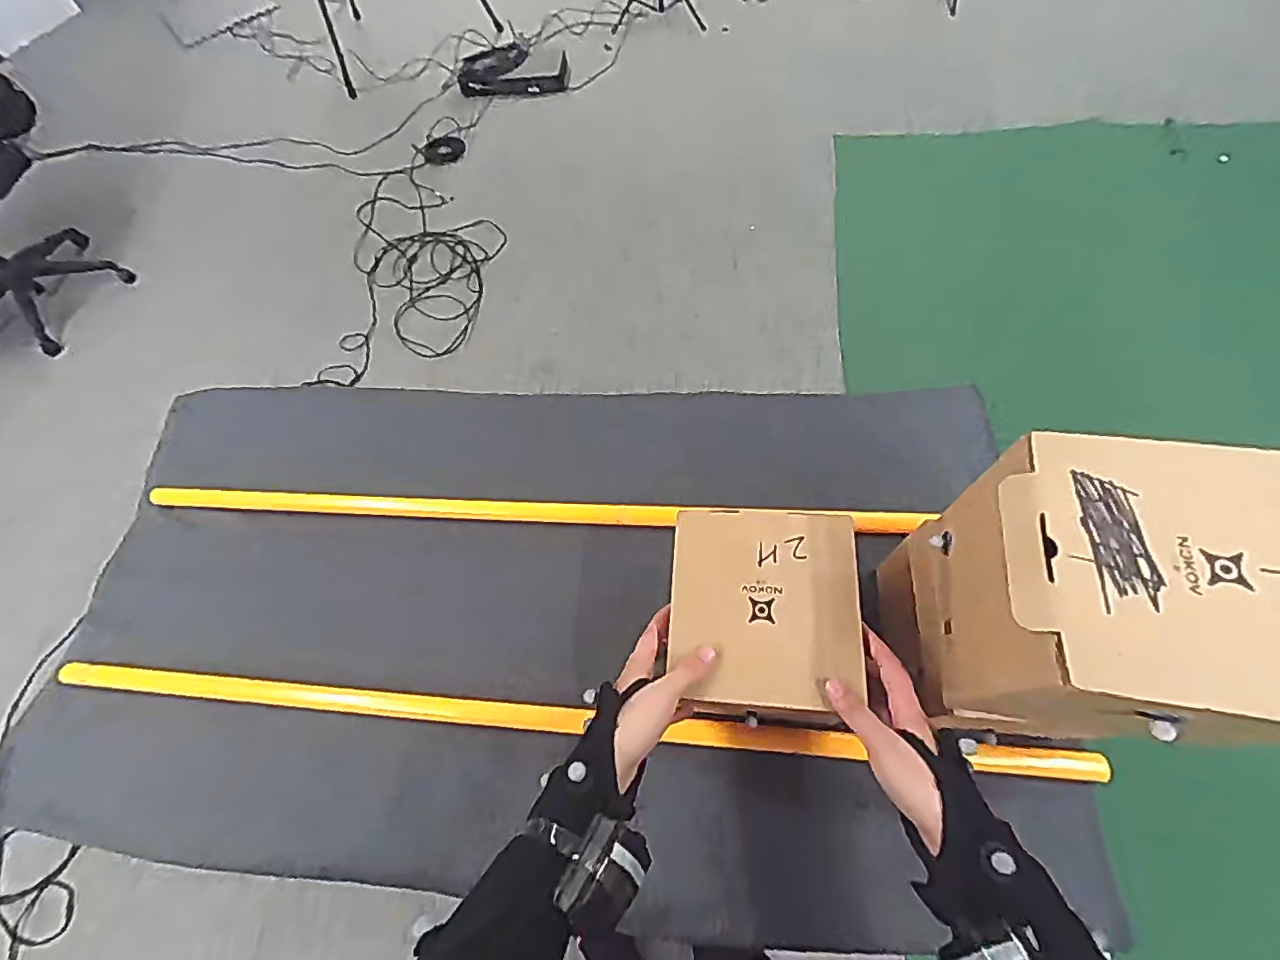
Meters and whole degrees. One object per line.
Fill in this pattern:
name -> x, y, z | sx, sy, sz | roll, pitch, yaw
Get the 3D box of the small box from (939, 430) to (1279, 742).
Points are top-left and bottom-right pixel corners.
small box -> 0.332, 0.083, 0.383 | 0.179, 0.176, 0.168 | 7, 66, 9
